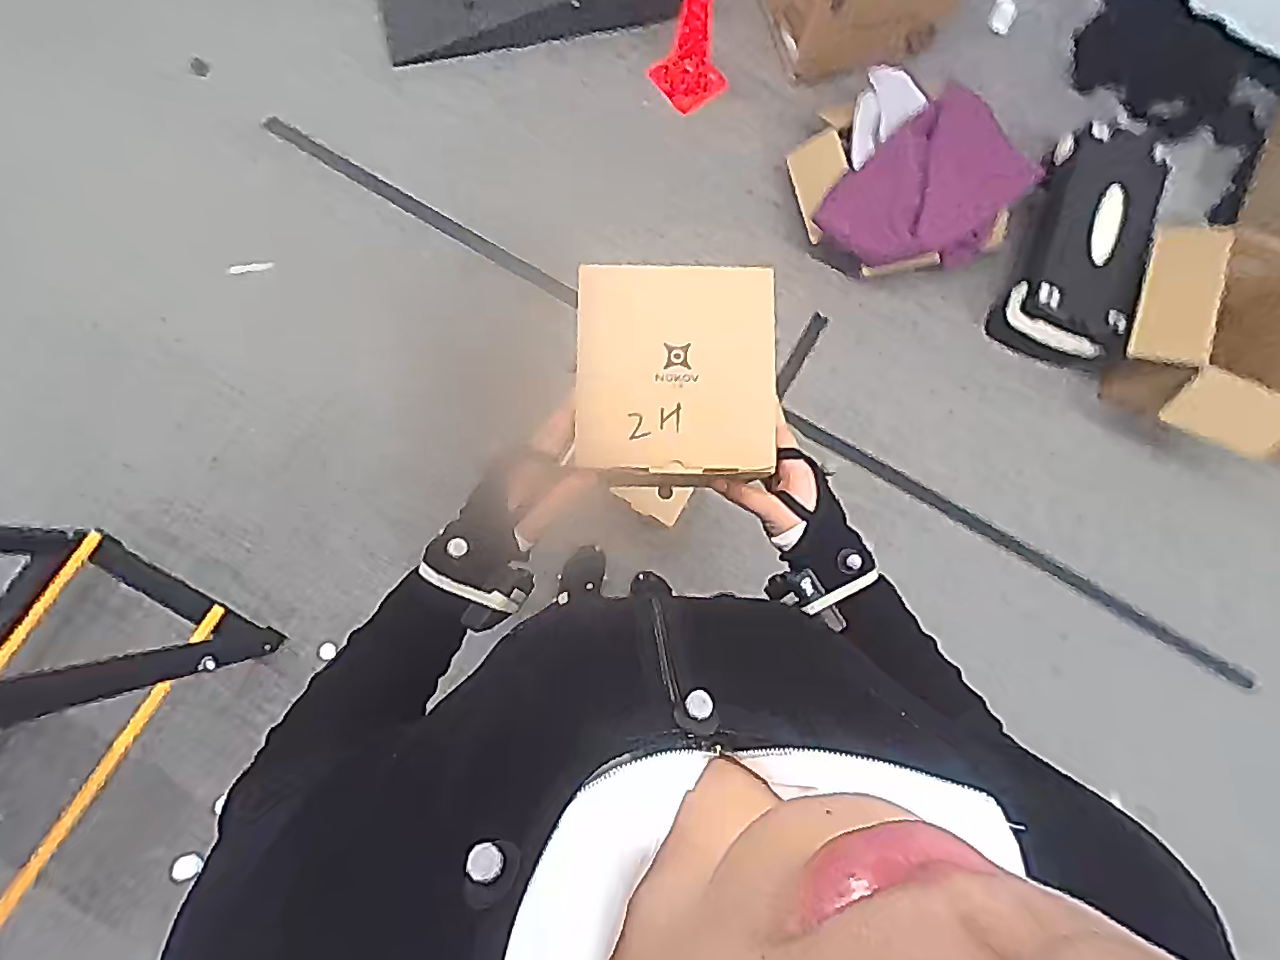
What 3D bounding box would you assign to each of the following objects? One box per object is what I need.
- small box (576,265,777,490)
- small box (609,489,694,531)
[{"bbox_3d":[0.028,-0.085,0.523,0.168,0.176,0.179,-1,84,-1],"label":"small box"},{"bbox_3d":[0.042,0.009,1.296,0.168,0.176,0.179,31,82,3],"label":"small box"}]
